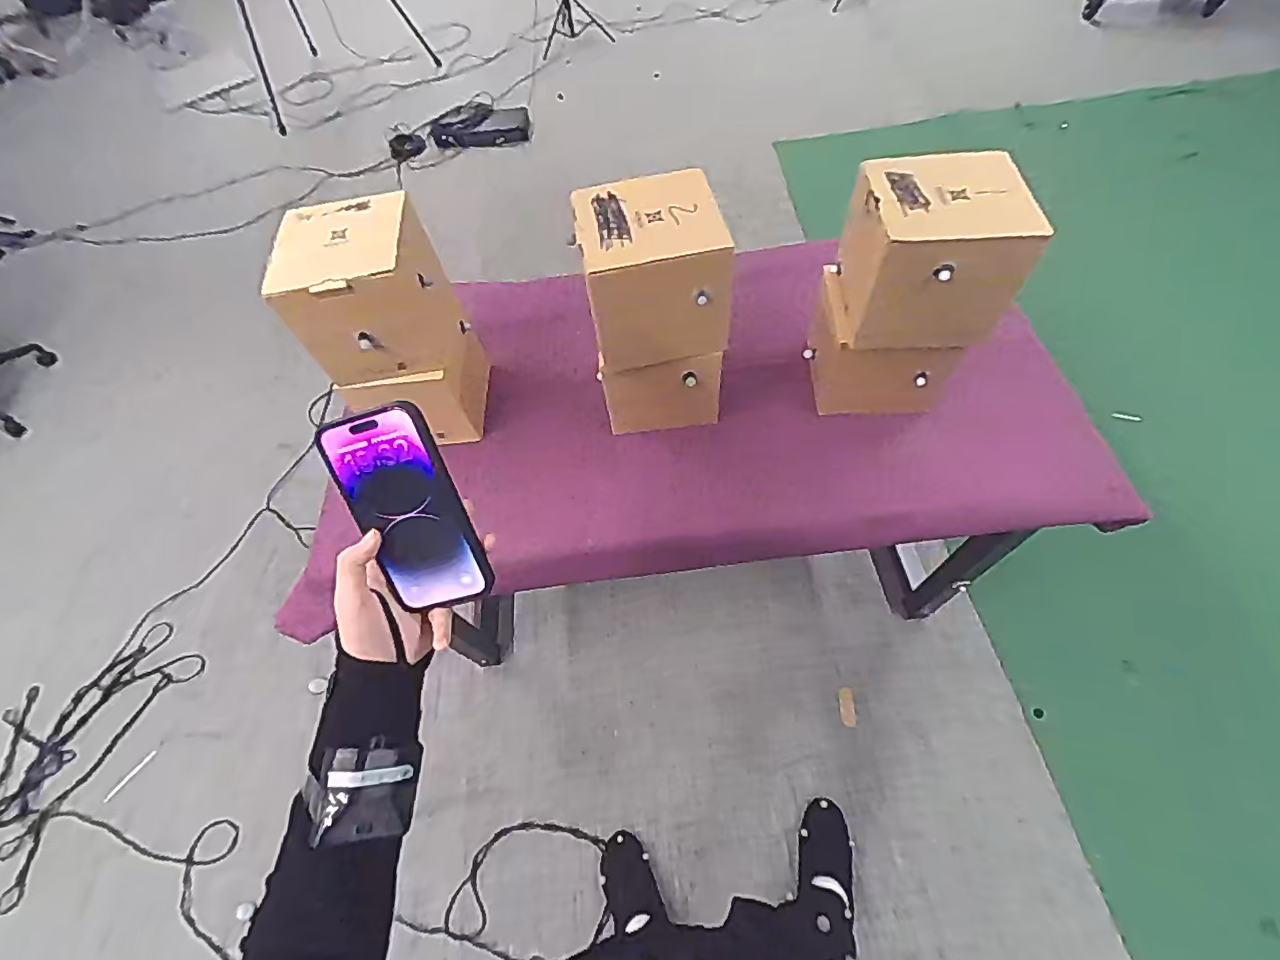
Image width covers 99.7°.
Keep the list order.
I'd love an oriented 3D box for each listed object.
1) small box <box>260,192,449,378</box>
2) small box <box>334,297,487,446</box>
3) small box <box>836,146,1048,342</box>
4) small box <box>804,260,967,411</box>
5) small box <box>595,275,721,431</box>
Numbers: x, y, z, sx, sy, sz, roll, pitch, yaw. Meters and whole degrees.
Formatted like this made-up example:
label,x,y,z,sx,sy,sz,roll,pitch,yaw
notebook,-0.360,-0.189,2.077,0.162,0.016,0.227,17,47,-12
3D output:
label,x,y,z,sx,sy,sz,roll,pitch,yaw
small box,-0.378,-0.260,0.754,0.168,0.176,0.179,-10,59,-1
small box,-0.362,-0.169,0.890,0.168,0.176,0.179,-6,59,3
small box,0.361,-0.294,0.694,0.179,0.176,0.168,-1,59,5
small box,0.366,-0.222,0.841,0.179,0.176,0.168,-1,59,6
small box,0.028,-0.196,0.862,0.179,0.176,0.168,-7,59,3
